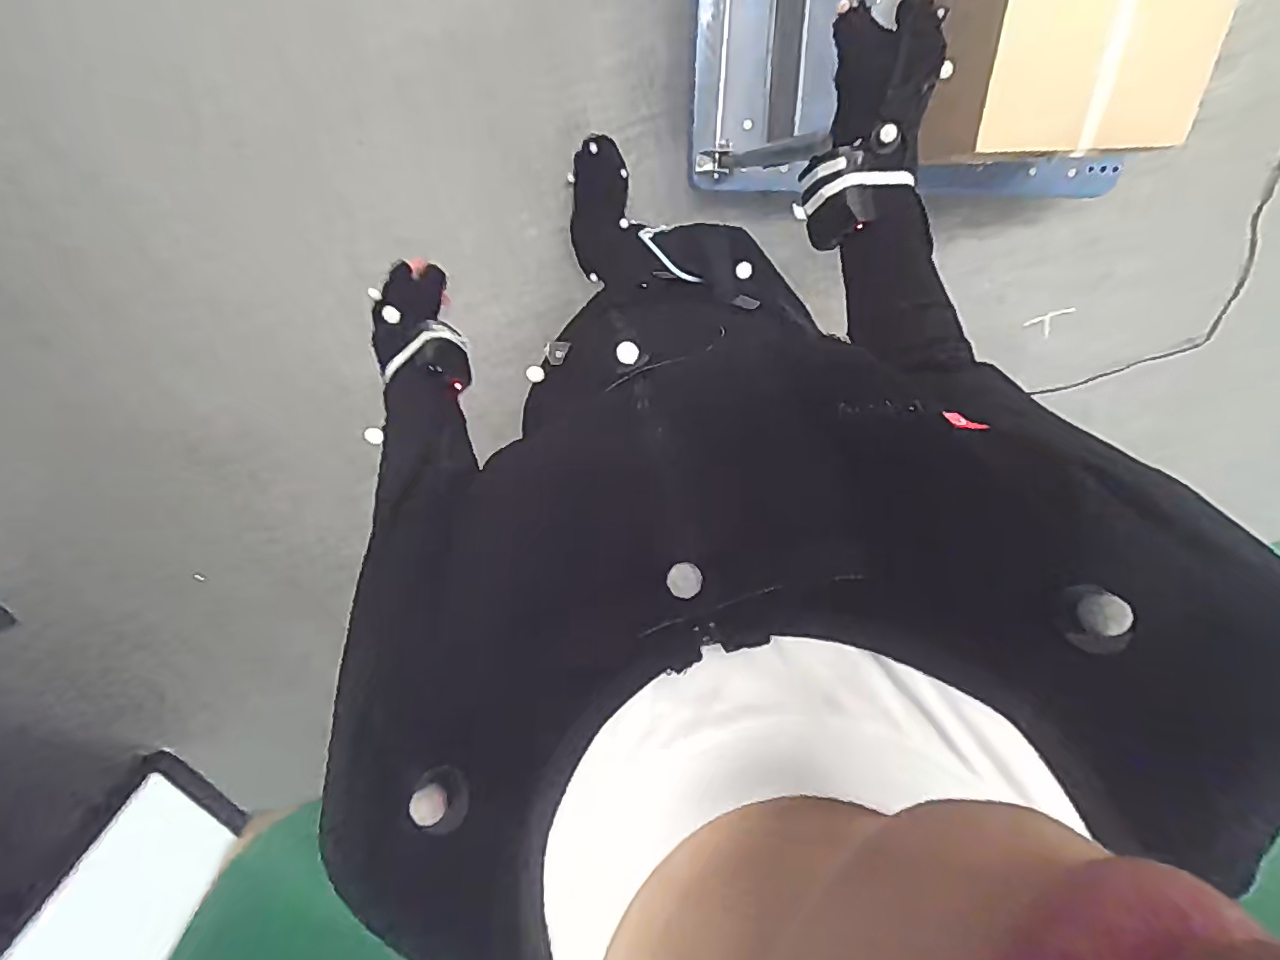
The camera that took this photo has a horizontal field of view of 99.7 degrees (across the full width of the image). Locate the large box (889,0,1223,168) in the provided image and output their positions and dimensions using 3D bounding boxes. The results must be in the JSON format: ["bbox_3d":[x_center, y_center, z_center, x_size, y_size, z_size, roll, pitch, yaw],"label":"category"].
[{"bbox_3d":[0.631,-0.736,0.846,0.320,0.320,0.408,-2,116,-1],"label":"large box"}]
